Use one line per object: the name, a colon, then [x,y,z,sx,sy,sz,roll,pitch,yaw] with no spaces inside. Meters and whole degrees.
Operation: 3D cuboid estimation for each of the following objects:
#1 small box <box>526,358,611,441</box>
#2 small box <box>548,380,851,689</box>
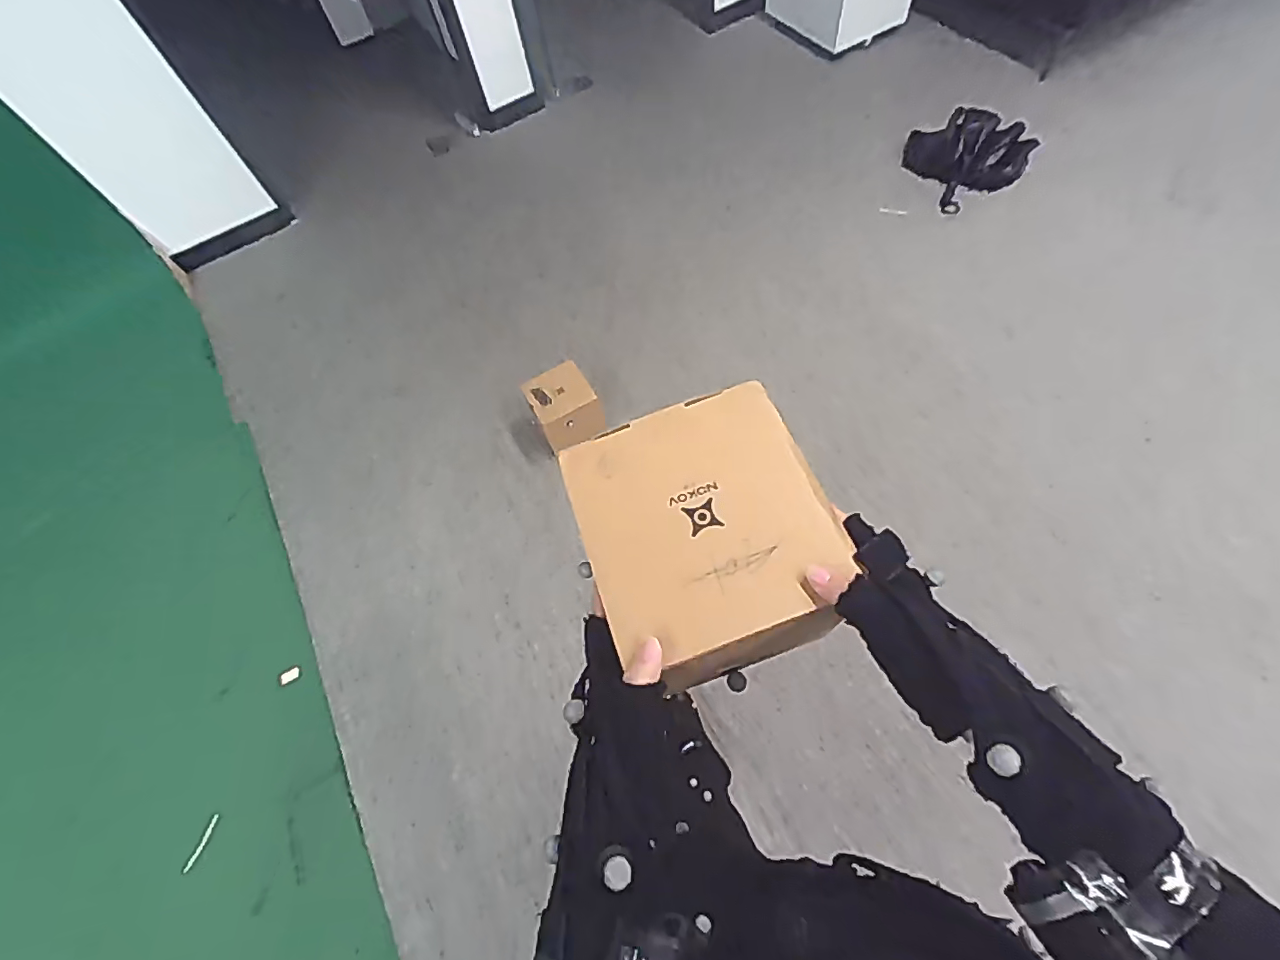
small box: [-0.205,-0.218,1.596,0.179,0.176,0.168,-29,64,-8]
small box: [0.041,0.055,0.444,0.168,0.176,0.179,-20,64,-1]
